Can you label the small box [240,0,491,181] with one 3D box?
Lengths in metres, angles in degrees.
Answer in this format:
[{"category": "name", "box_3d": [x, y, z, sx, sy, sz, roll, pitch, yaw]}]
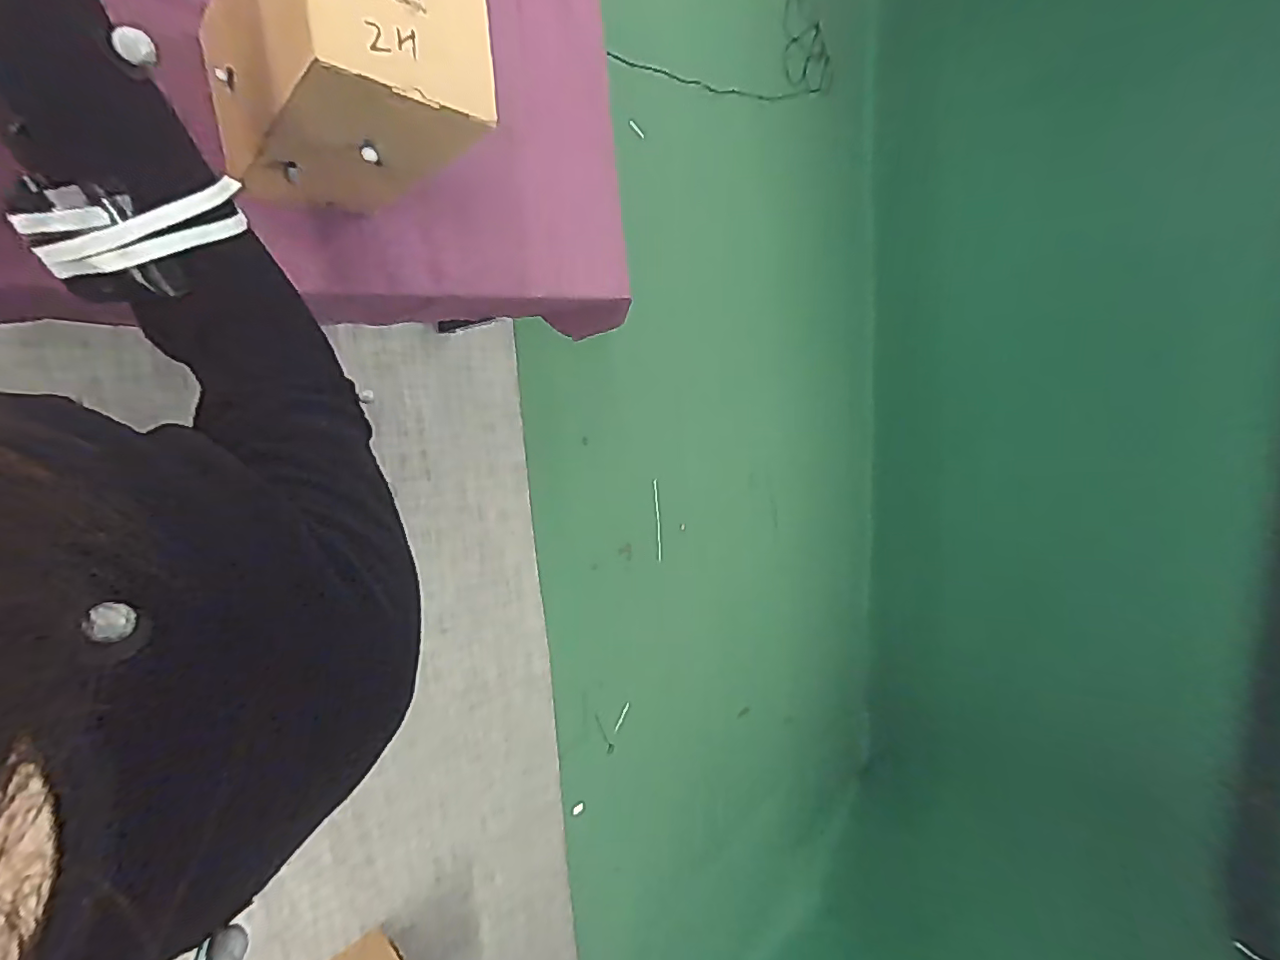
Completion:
[{"category": "small box", "box_3d": [-0.267, -0.426, 0.525, 0.168, 0.176, 0.179, -12, 102, -46]}]
